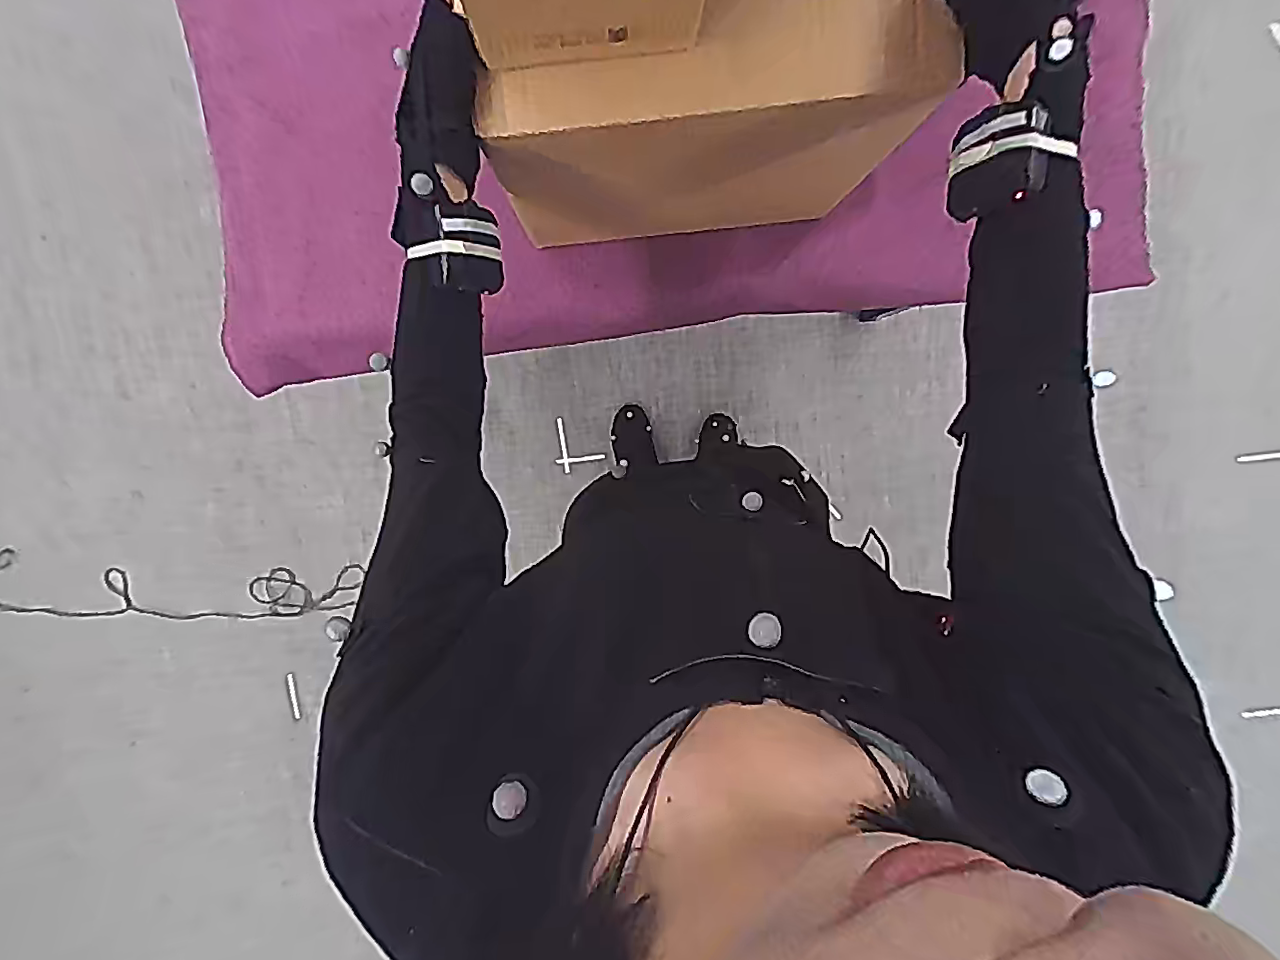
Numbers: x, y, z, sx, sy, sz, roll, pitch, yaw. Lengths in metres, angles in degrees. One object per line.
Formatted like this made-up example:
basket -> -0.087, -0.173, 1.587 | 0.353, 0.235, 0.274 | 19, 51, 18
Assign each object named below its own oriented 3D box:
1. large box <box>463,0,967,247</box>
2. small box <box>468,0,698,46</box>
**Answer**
large box -> 0.043, -0.469, 0.564 | 0.408, 0.320, 0.320 | -8, 99, -1
small box -> -0.043, -0.403, 0.325 | 0.168, 0.176, 0.179 | -7, 97, -2
